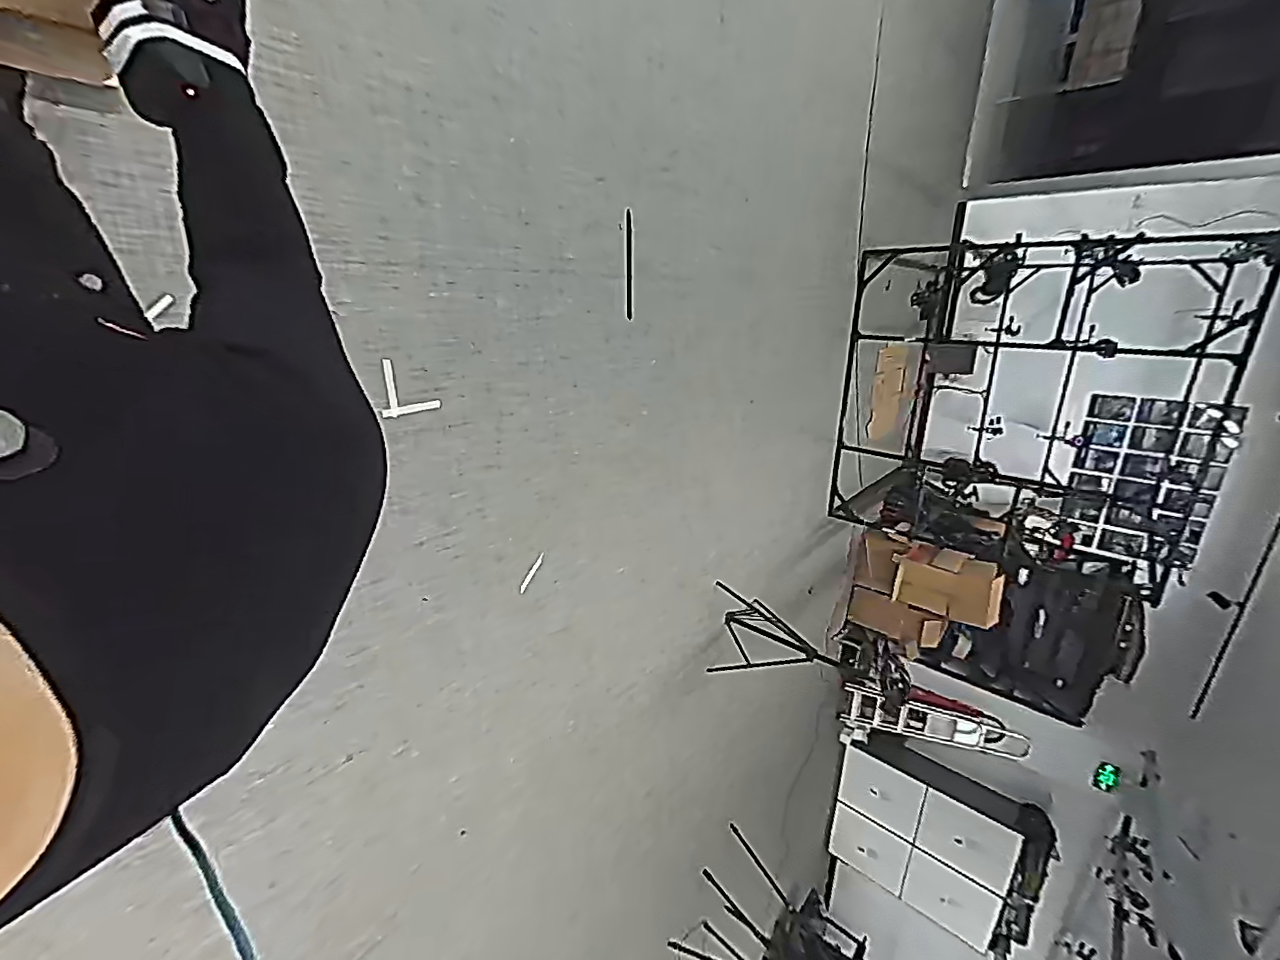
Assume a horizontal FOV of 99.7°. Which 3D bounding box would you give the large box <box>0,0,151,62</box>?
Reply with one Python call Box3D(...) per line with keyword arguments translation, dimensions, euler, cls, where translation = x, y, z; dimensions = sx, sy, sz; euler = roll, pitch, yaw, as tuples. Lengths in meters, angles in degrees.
Box3D(translation=(-0.601, -0.492, 0.300), dimensions=(0.408, 0.320, 0.320), euler=(-19, 125, -46), cls="large box")
